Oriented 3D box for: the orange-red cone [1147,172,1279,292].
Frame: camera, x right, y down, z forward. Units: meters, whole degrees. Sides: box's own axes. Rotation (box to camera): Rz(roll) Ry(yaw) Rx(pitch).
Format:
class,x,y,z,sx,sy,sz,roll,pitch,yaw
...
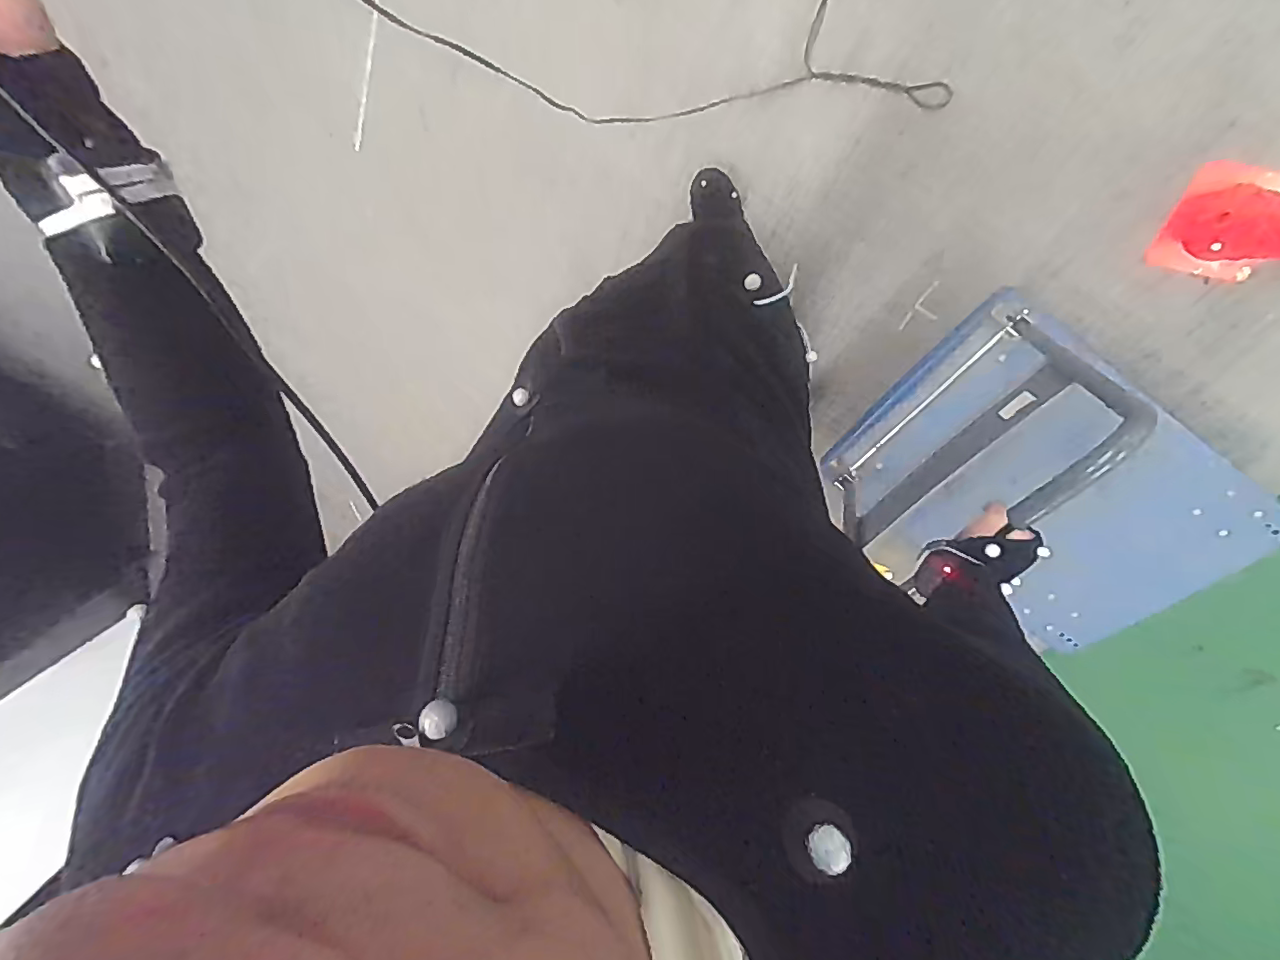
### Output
class,x,y,z,sx,sy,sz,roll,pitch,yaw
orange-red cone,1.150,-0.425,0.960,0.198,0.360,0.199,18,121,6
